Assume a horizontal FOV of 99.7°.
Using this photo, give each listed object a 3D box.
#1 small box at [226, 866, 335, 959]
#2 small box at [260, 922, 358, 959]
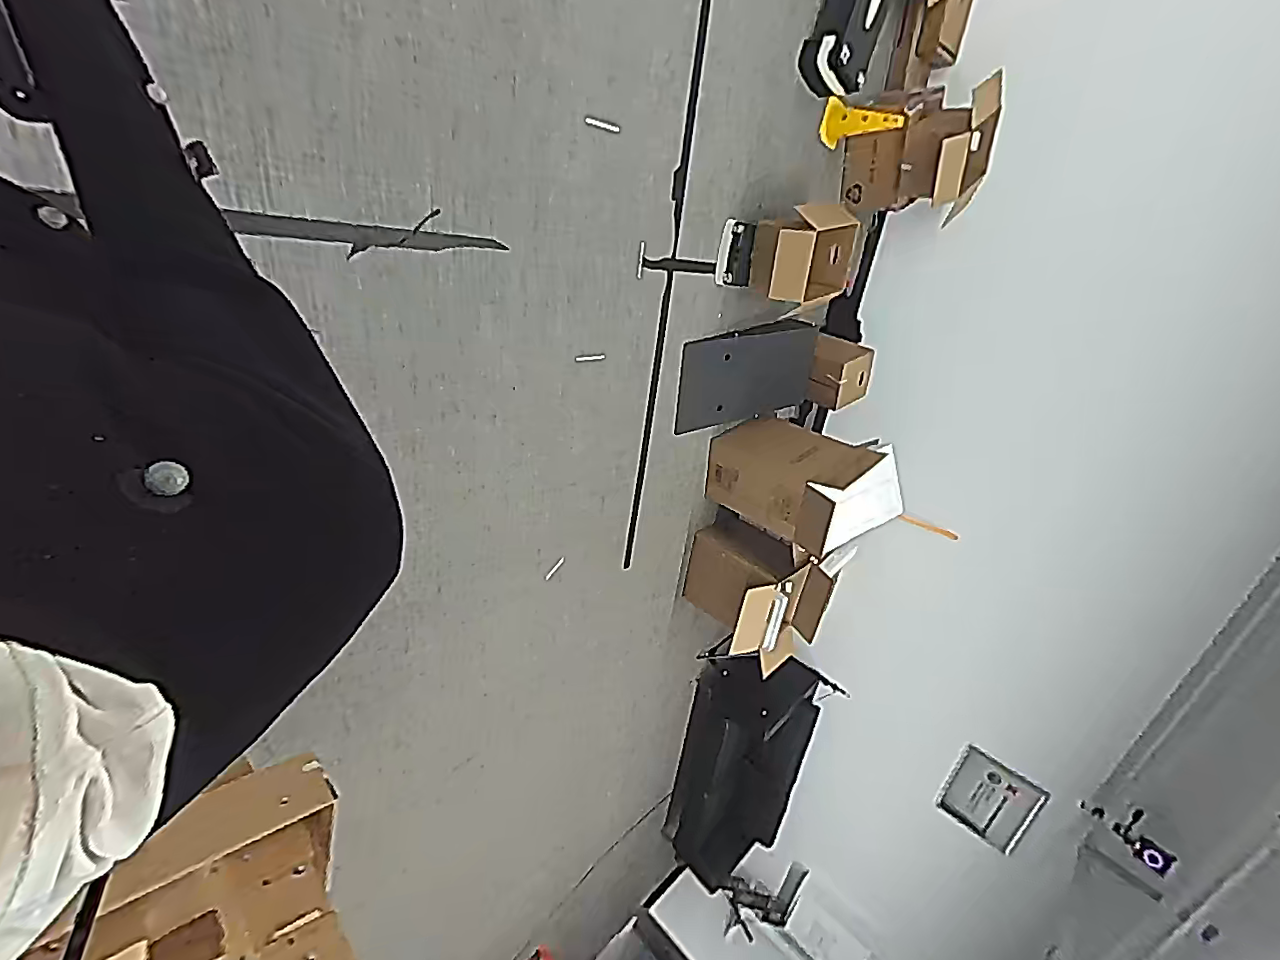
[{"bbox_3d":[-0.868,1.081,1.301,0.168,0.176,0.179,3,112,-51],"label":"small box"},{"bbox_3d":[-0.751,1.141,1.203,0.168,0.176,0.179,9,106,-52],"label":"small box"}]
